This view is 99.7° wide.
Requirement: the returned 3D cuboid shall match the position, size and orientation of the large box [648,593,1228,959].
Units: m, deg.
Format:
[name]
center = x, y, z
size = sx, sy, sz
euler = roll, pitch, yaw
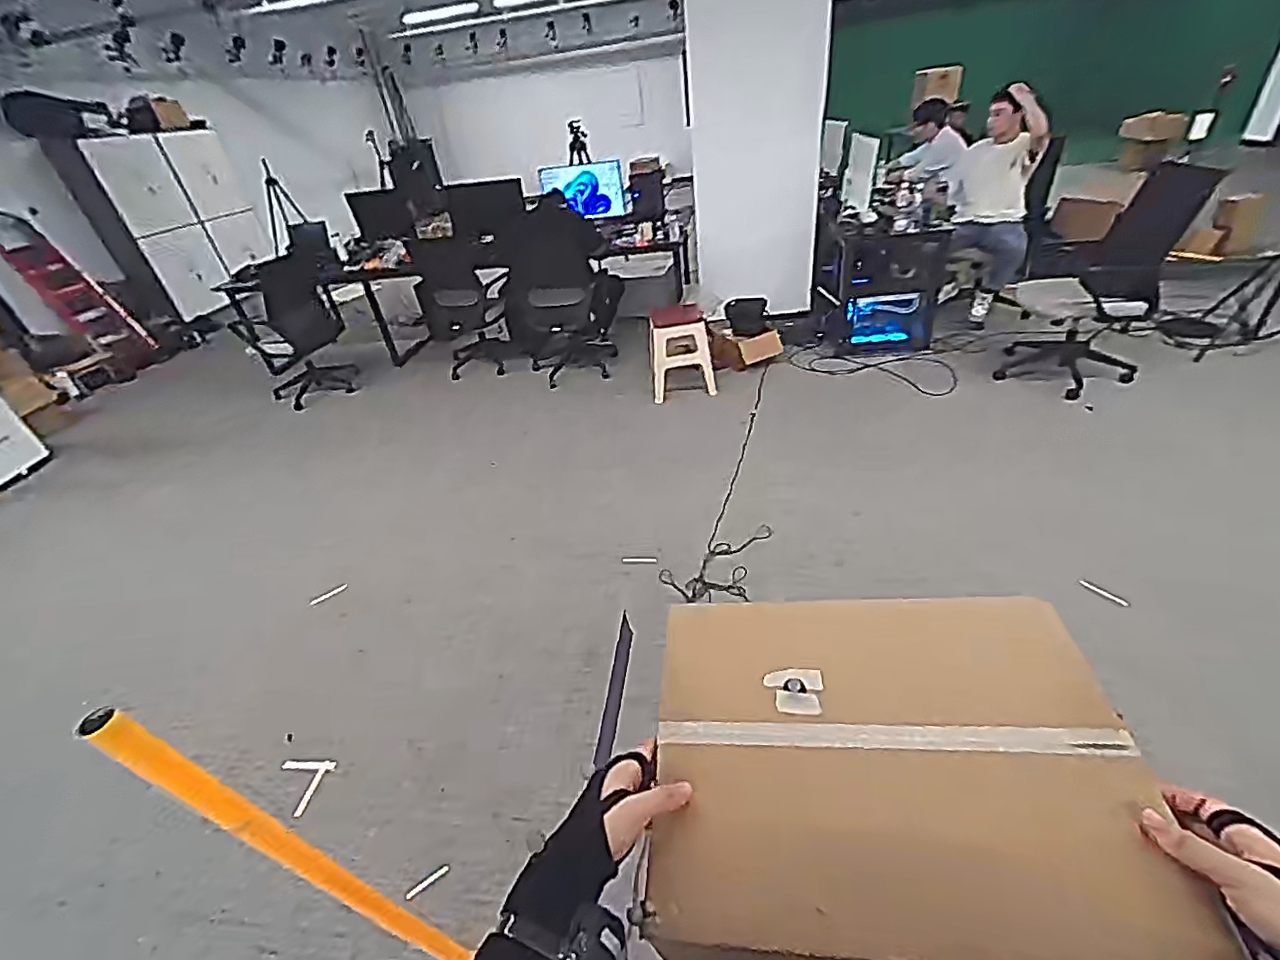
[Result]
[large box]
center = 0.246, 0.352, 0.600
size = 0.408, 0.320, 0.320
euler = -5, 39, 13
